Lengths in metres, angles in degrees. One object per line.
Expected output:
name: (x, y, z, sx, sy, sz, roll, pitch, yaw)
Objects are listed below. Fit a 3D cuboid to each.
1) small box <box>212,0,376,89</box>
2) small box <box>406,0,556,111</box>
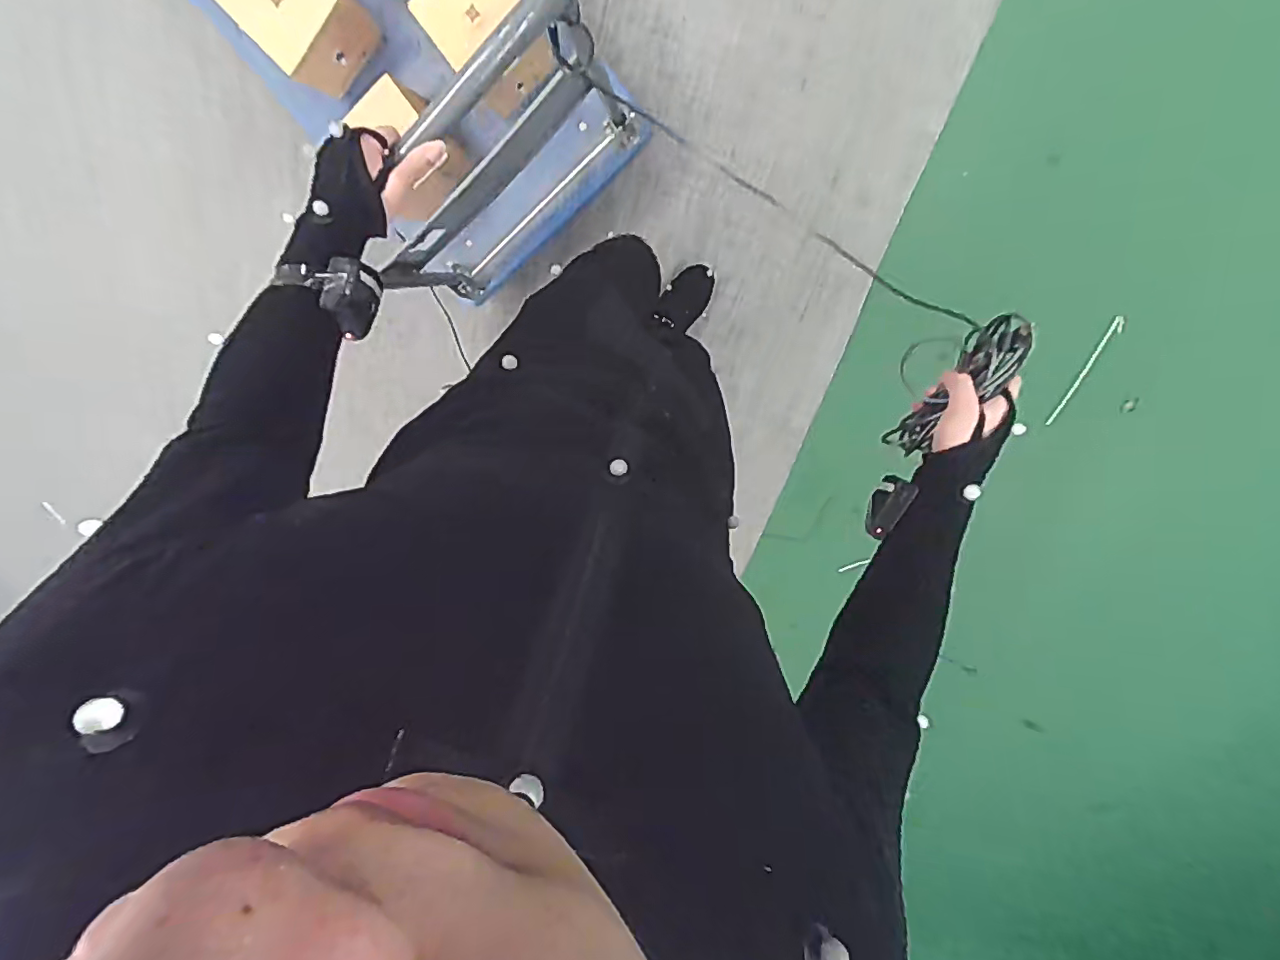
small box: (-0.633, -0.867, 0.999, 0.168, 0.176, 0.179, -40, 106, 18)
small box: (-0.281, -0.827, 0.995, 0.168, 0.176, 0.179, -35, 107, 17)
